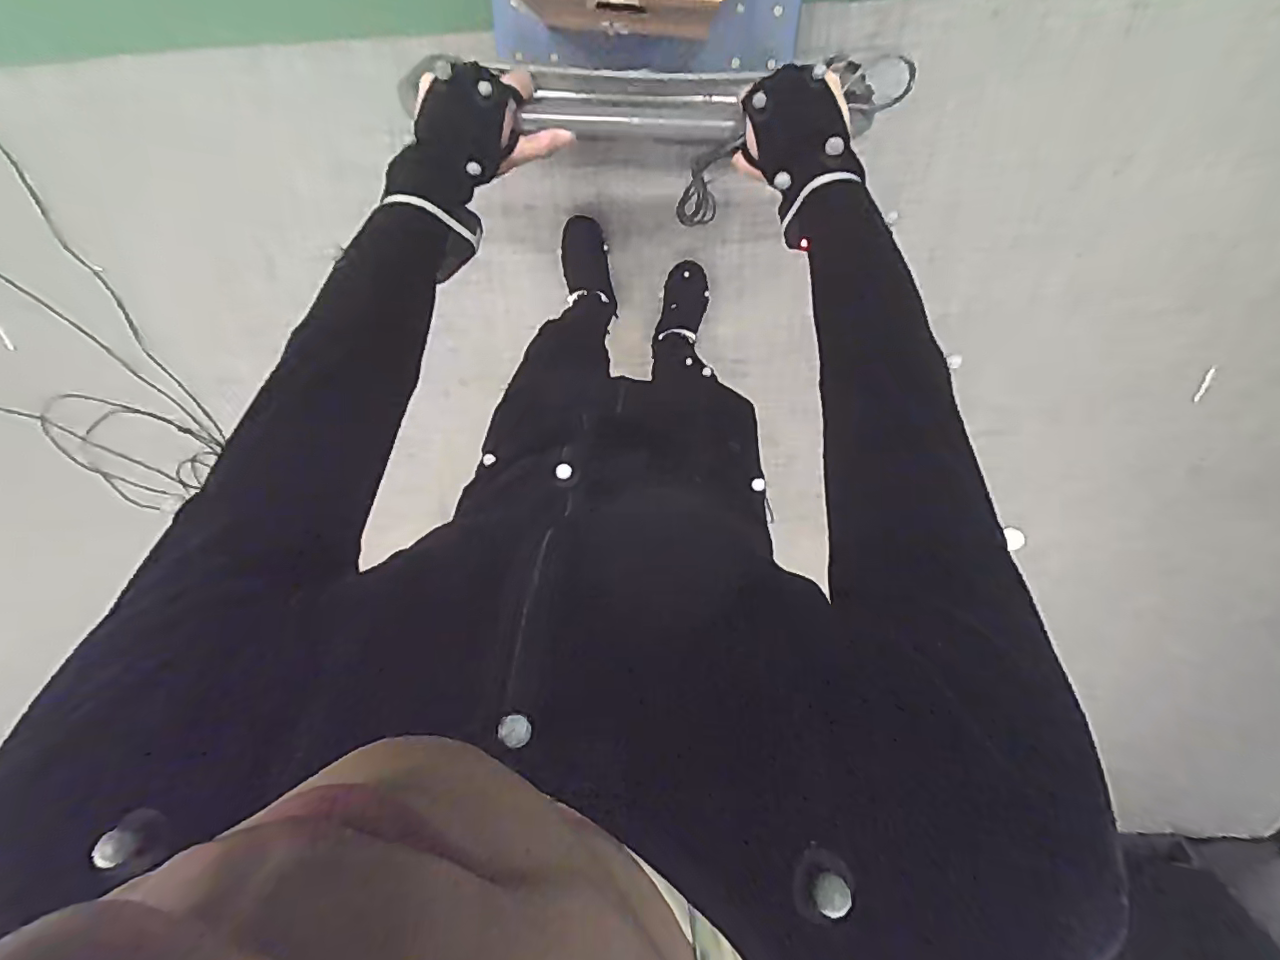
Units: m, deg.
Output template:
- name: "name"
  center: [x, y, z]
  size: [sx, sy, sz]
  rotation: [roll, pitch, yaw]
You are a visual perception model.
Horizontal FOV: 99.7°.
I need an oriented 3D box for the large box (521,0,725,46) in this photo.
- name: "large box"
  center: [-0.014, -0.930, 0.802]
  size: [0.320, 0.320, 0.408]
  rotation: [5, 121, -1]
